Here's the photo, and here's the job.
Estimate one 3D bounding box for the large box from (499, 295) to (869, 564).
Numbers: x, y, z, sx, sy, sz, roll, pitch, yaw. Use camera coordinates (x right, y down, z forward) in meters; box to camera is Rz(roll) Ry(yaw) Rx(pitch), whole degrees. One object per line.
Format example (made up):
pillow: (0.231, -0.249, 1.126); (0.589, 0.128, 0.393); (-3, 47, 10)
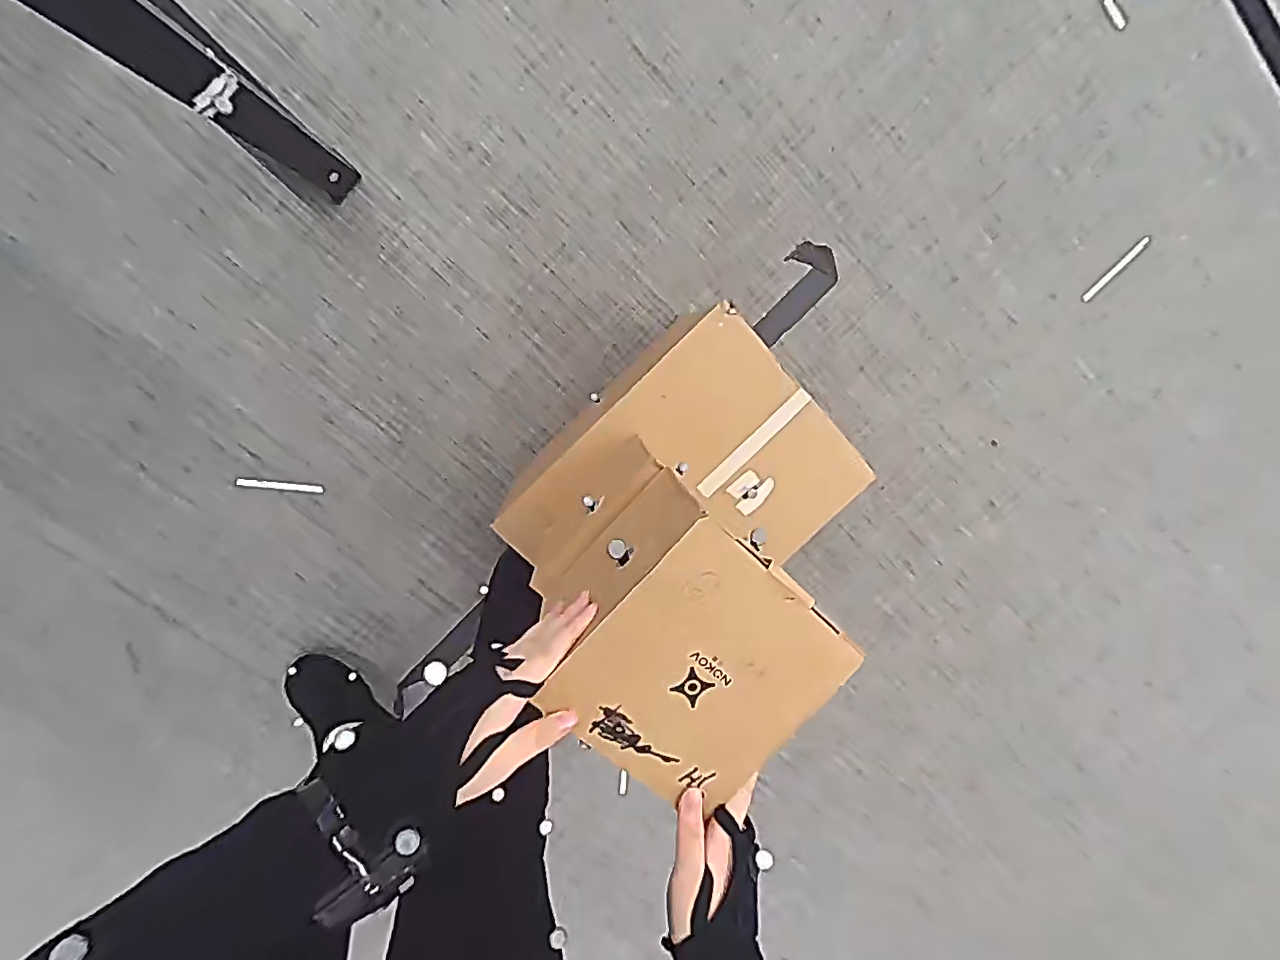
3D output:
large box: (0.046, -0.012, 0.841); (0.408, 0.320, 0.320); (-44, 104, 4)

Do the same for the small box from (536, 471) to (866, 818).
small box: (0.035, 0.114, 0.445); (0.168, 0.176, 0.179); (43, 94, -12)

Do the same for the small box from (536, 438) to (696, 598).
small box: (0.007, 0.073, 0.603); (0.179, 0.176, 0.168); (-45, 101, 5)
